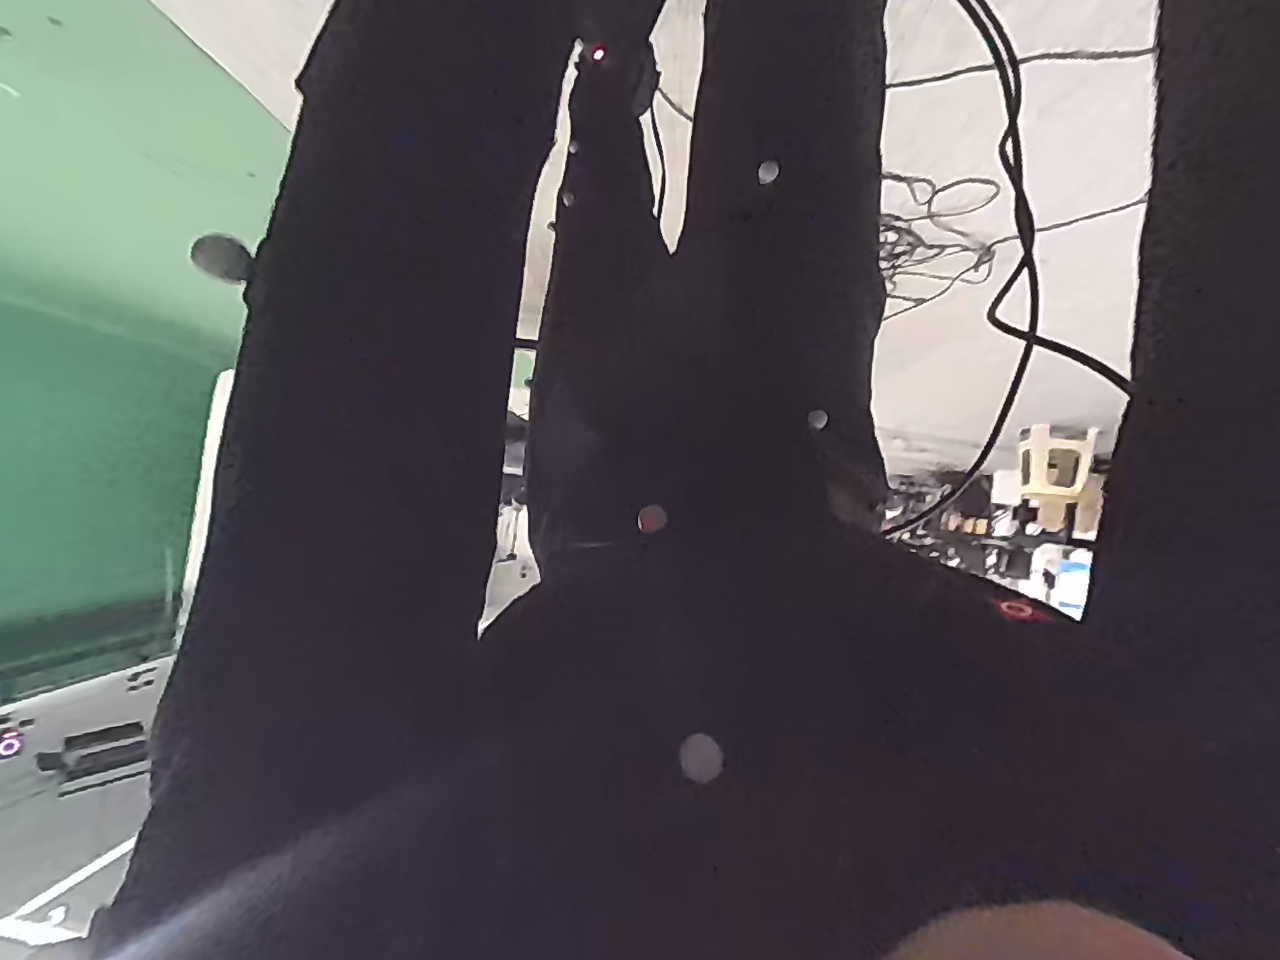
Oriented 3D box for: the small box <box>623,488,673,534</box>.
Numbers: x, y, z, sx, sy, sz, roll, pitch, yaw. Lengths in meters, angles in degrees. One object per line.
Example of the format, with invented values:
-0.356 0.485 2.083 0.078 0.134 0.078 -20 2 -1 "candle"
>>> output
0.037 0.123 2.225 0.168 0.176 0.179 8 179 12 "small box"
